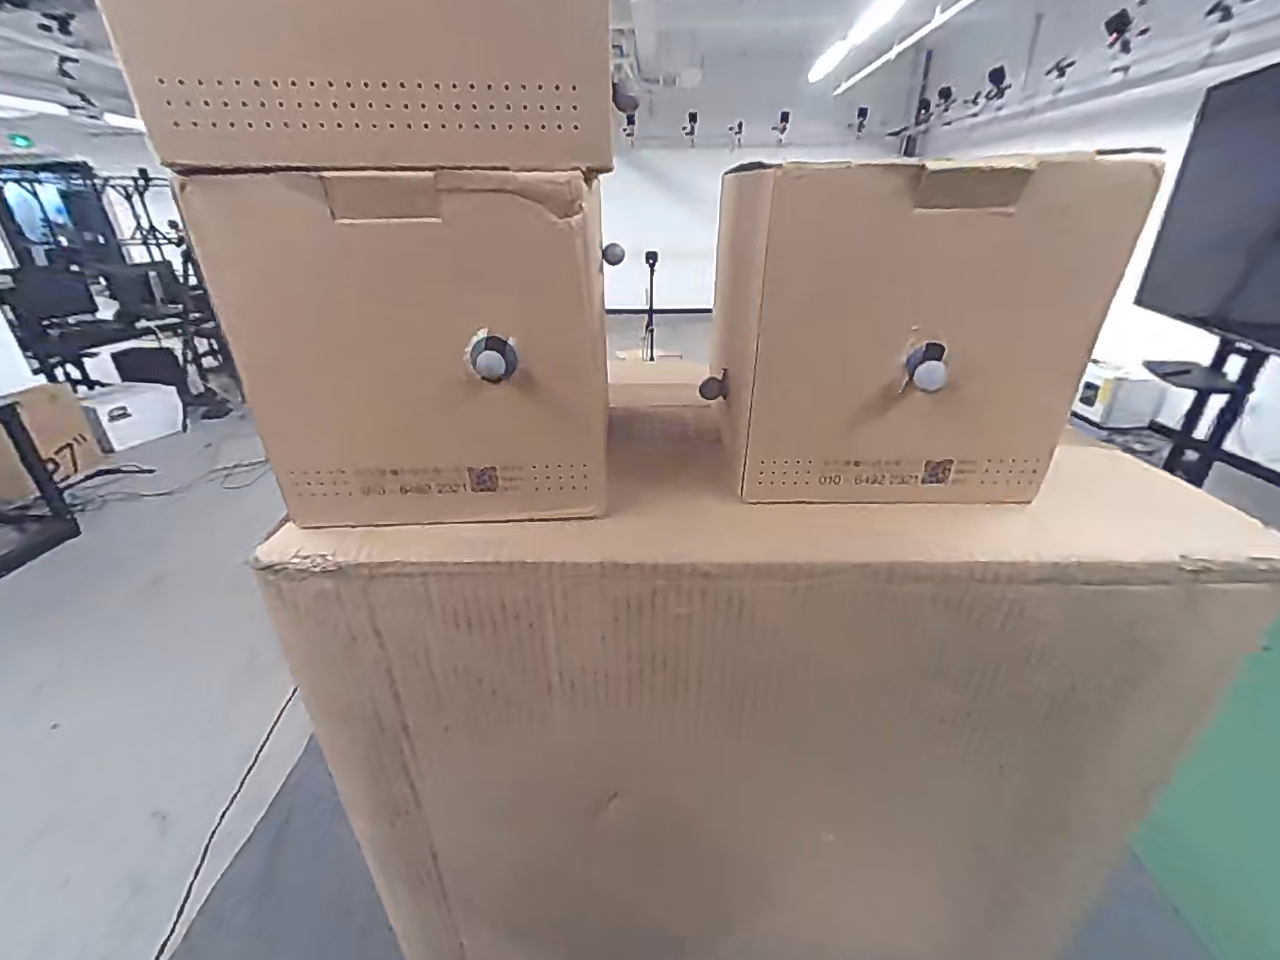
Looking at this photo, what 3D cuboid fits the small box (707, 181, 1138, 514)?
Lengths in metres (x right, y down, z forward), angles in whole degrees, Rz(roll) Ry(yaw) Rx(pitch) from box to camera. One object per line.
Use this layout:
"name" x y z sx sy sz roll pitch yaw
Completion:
"small box" 0.134 -0.090 0.342 0.168 0.176 0.179 1 28 1

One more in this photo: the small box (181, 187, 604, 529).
"small box" -0.108 -0.081 0.330 0.168 0.176 0.179 -1 27 -2

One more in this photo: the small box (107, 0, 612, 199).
"small box" -0.105 -0.223 0.248 0.179 0.176 0.168 -3 29 -9
